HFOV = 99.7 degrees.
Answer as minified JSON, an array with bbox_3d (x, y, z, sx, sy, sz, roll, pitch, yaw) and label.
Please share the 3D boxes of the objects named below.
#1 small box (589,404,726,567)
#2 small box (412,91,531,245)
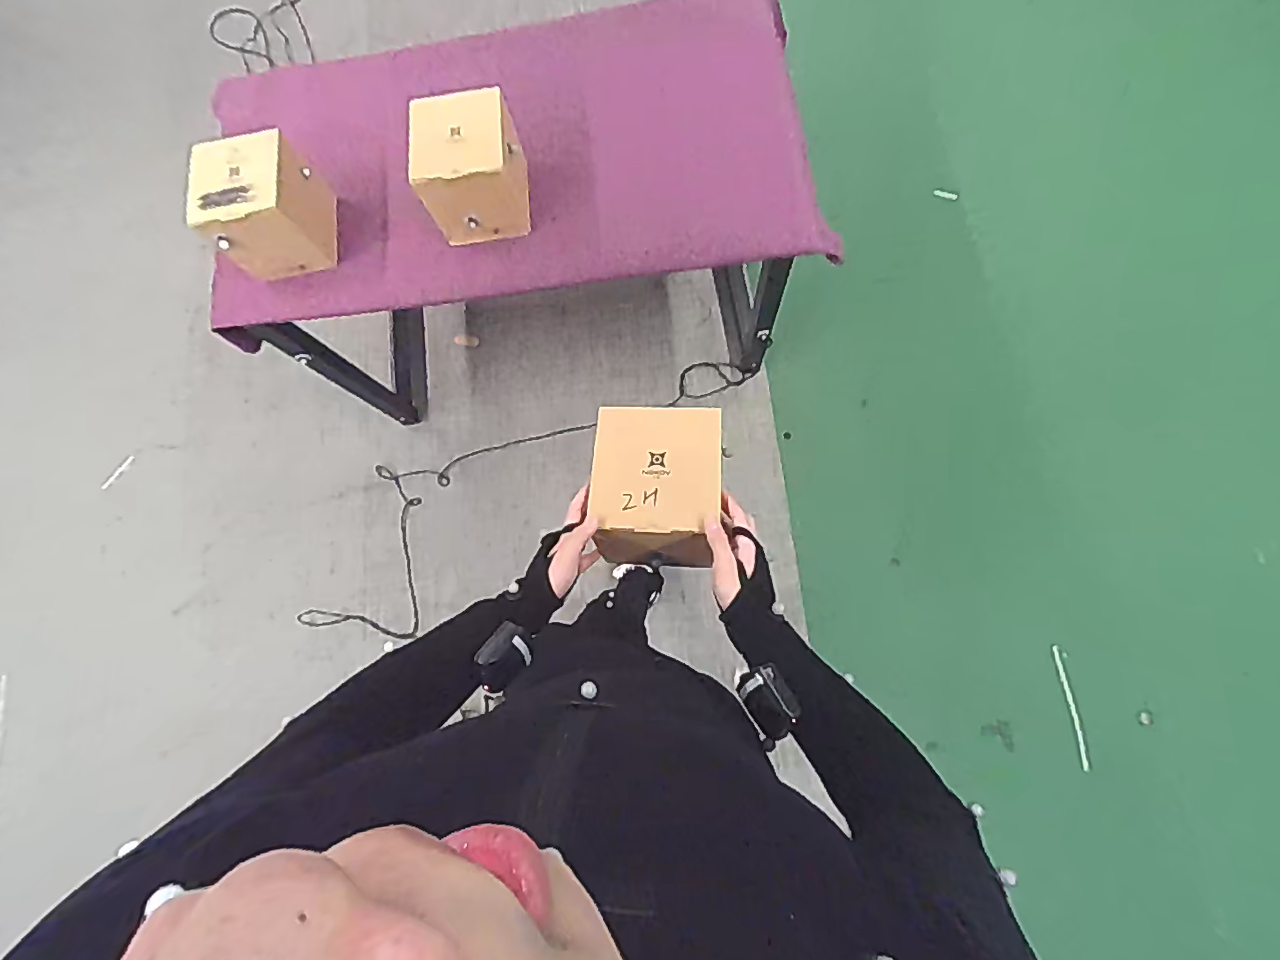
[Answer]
[{"bbox_3d":[0.032,0.012,0.759,0.168,0.176,0.179,2,67,7],"label":"small box"},{"bbox_3d":[-0.307,-0.572,1.008,0.168,0.176,0.179,-6,77,3],"label":"small box"}]
